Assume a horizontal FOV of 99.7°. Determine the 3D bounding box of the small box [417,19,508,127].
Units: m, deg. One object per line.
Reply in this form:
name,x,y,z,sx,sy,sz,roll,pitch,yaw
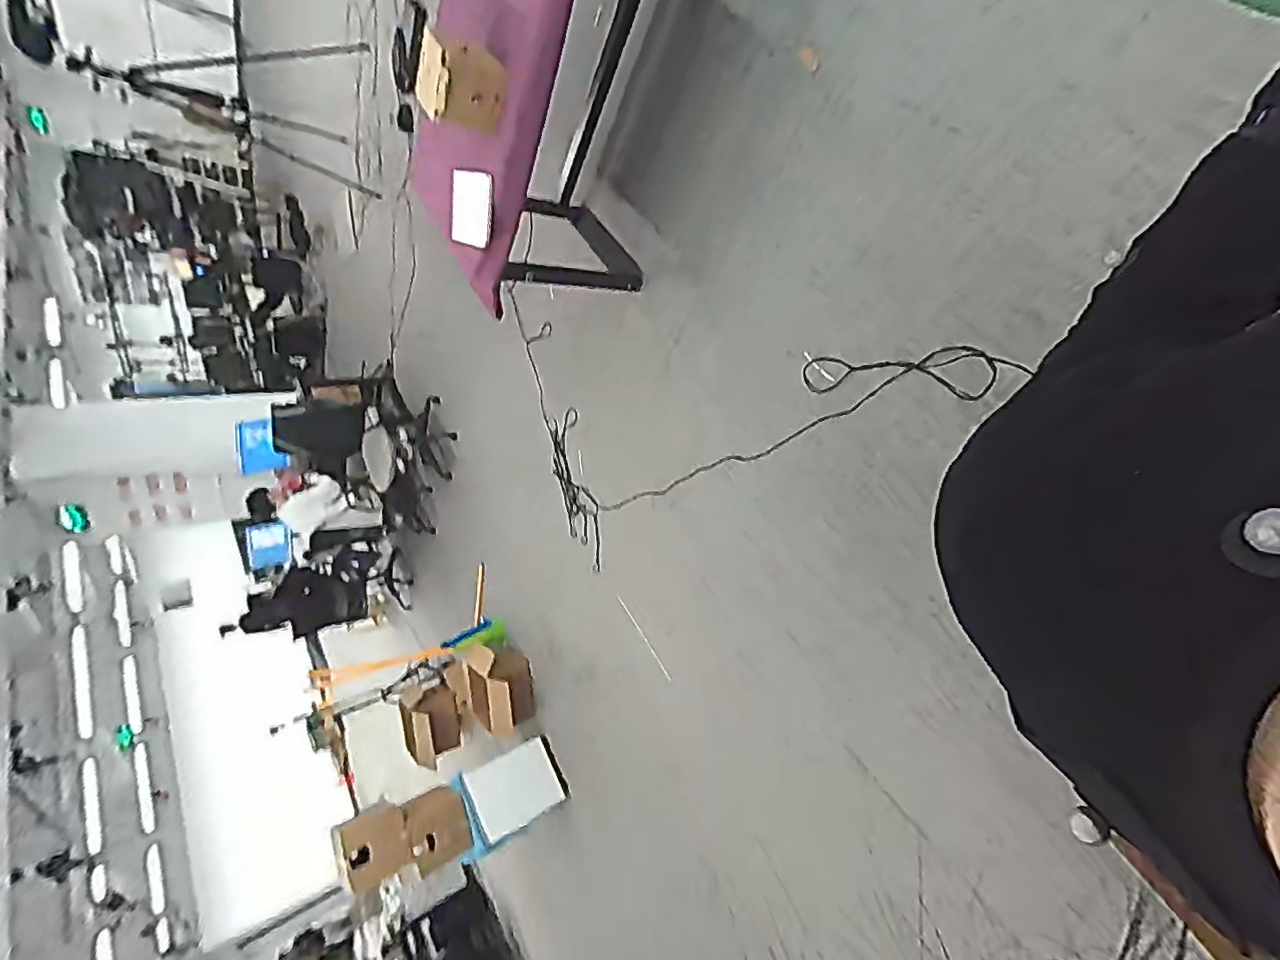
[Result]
small box,-0.479,-1.091,1.464,0.179,0.176,0.168,56,135,24
